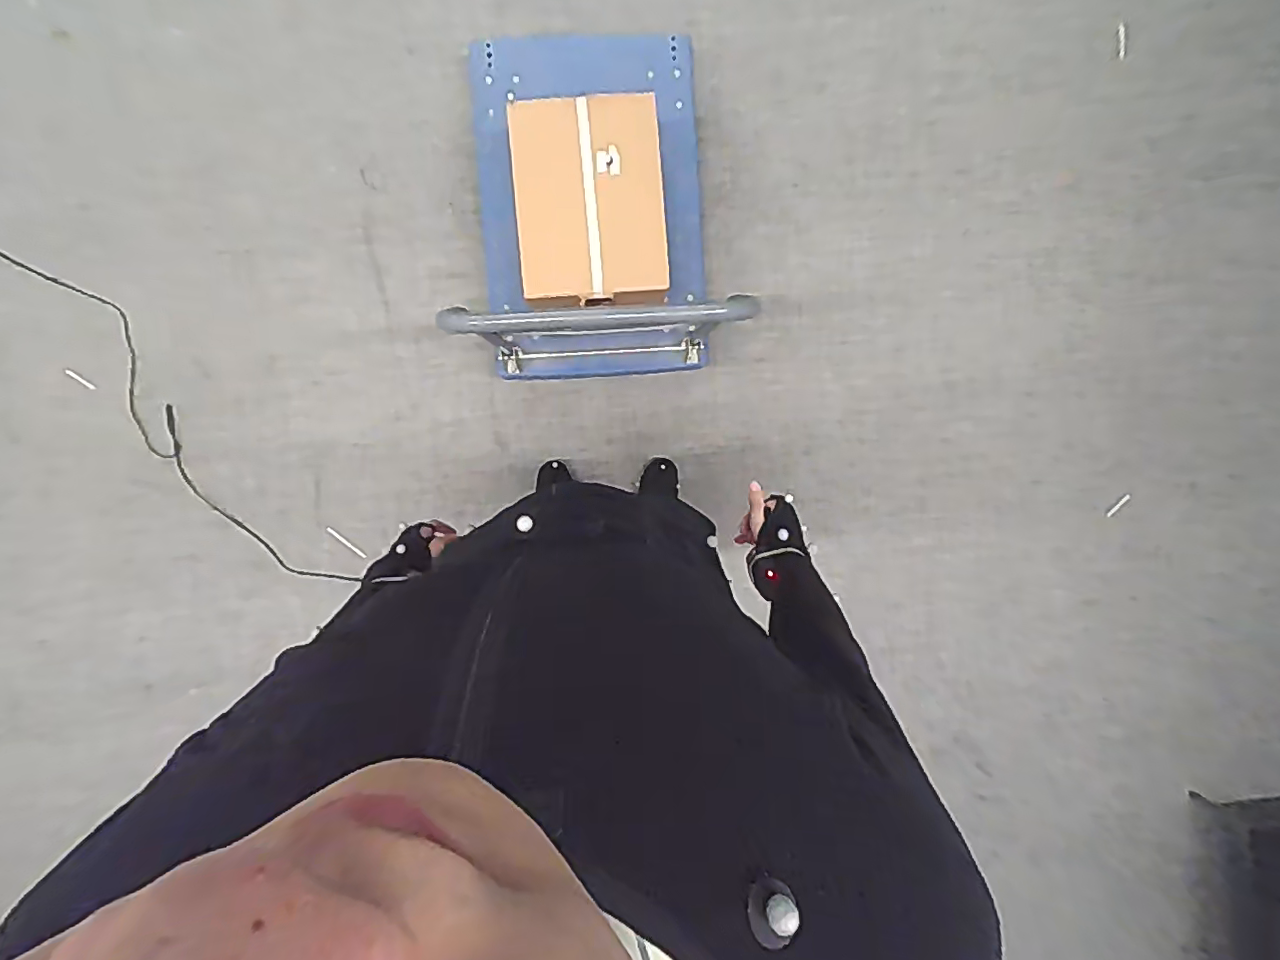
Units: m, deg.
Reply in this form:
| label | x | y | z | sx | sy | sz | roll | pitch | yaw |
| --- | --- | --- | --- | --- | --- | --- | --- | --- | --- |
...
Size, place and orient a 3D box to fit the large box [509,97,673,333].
| label | x | y | z | sx | sy | sz | roll | pitch | yaw |
| --- | --- | --- | --- | --- | --- | --- | --- | --- | --- |
| large box | -0.106 | -0.595 | 1.282 | 0.320 | 0.320 | 0.408 | -5 | 93 | -2 |
